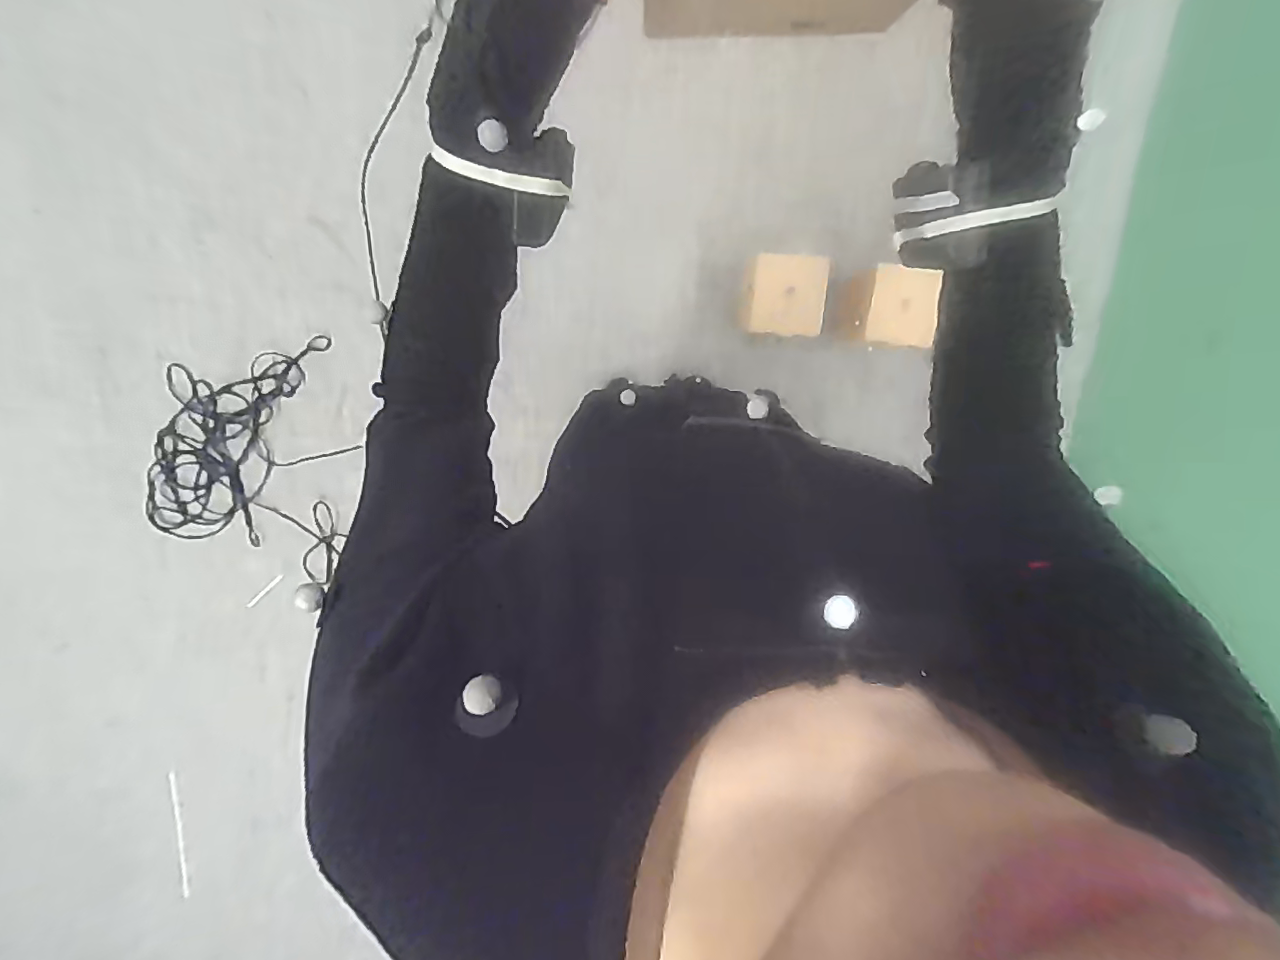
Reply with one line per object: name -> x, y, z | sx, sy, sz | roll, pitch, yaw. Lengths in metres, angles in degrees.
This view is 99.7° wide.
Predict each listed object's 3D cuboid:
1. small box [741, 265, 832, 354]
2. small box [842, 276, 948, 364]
small box -> 0.346, -0.407, 1.314 | 0.168, 0.176, 0.179 | 5, 101, 0
small box -> 0.614, -0.385, 1.324 | 0.168, 0.176, 0.179 | 6, 101, -2
